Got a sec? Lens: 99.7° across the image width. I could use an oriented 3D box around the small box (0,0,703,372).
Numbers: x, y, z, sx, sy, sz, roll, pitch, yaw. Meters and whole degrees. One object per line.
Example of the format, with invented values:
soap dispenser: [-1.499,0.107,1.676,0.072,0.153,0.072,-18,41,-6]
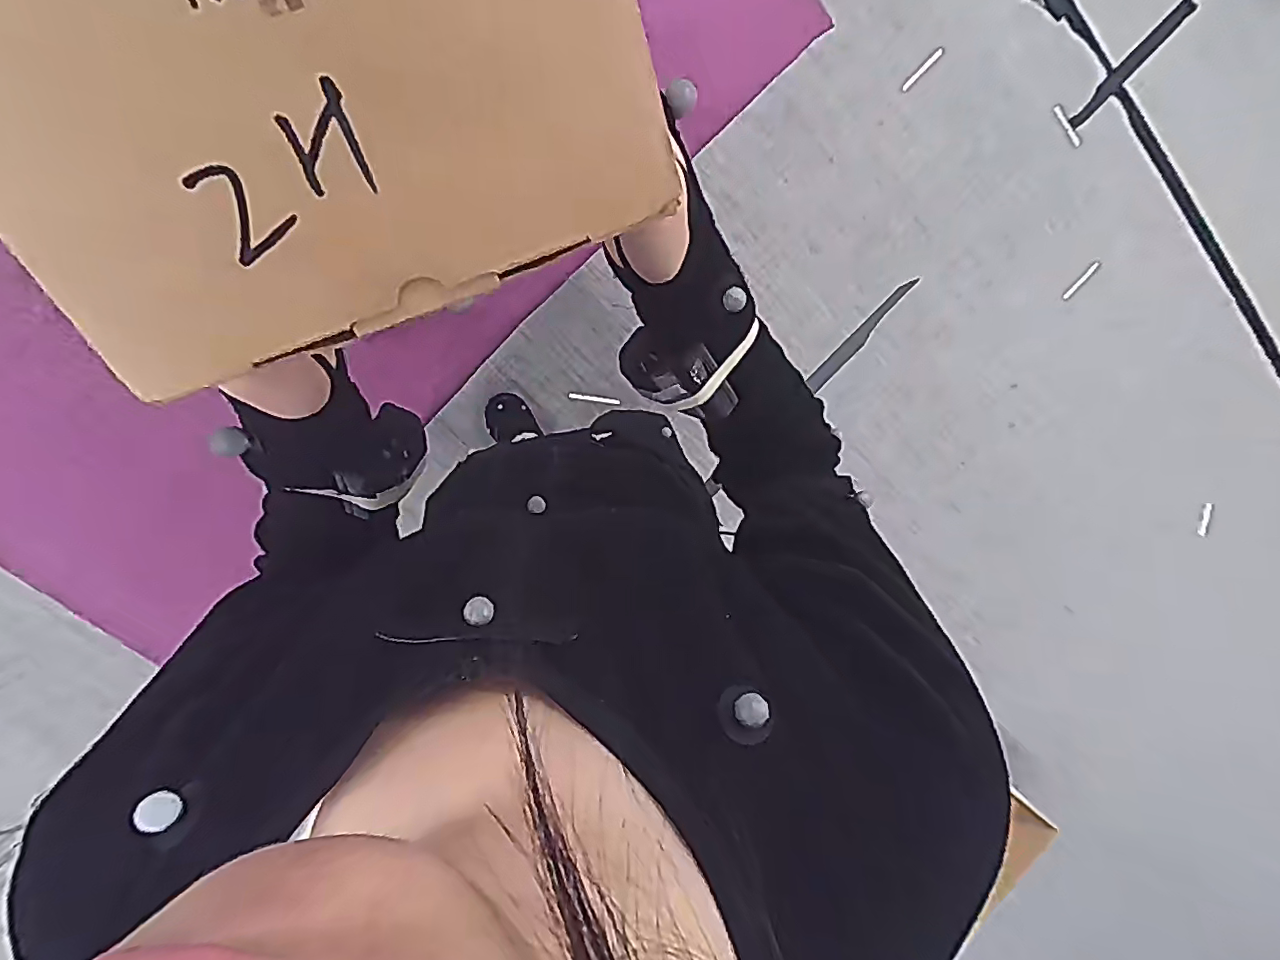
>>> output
small box: [-0.099,-0.161,0.186,0.168,0.176,0.179,-22,118,-5]
